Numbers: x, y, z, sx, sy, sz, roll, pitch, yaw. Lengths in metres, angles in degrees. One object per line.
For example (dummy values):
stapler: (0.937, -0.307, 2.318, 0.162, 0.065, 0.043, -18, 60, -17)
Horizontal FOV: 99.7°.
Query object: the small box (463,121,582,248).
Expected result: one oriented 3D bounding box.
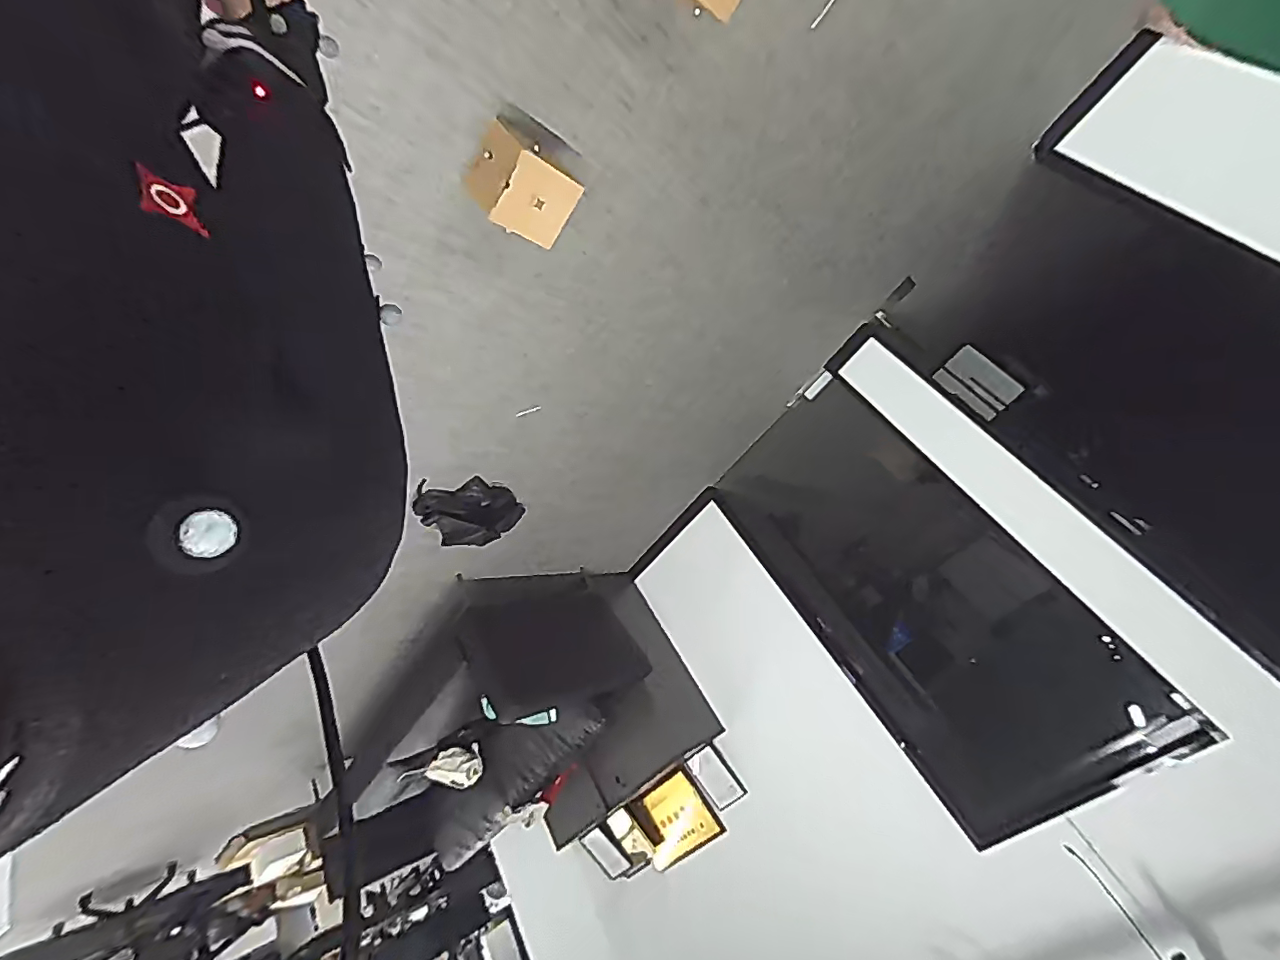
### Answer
small box: (-0.273, -0.677, 1.240, 0.179, 0.176, 0.168, 6, 133, -49)
